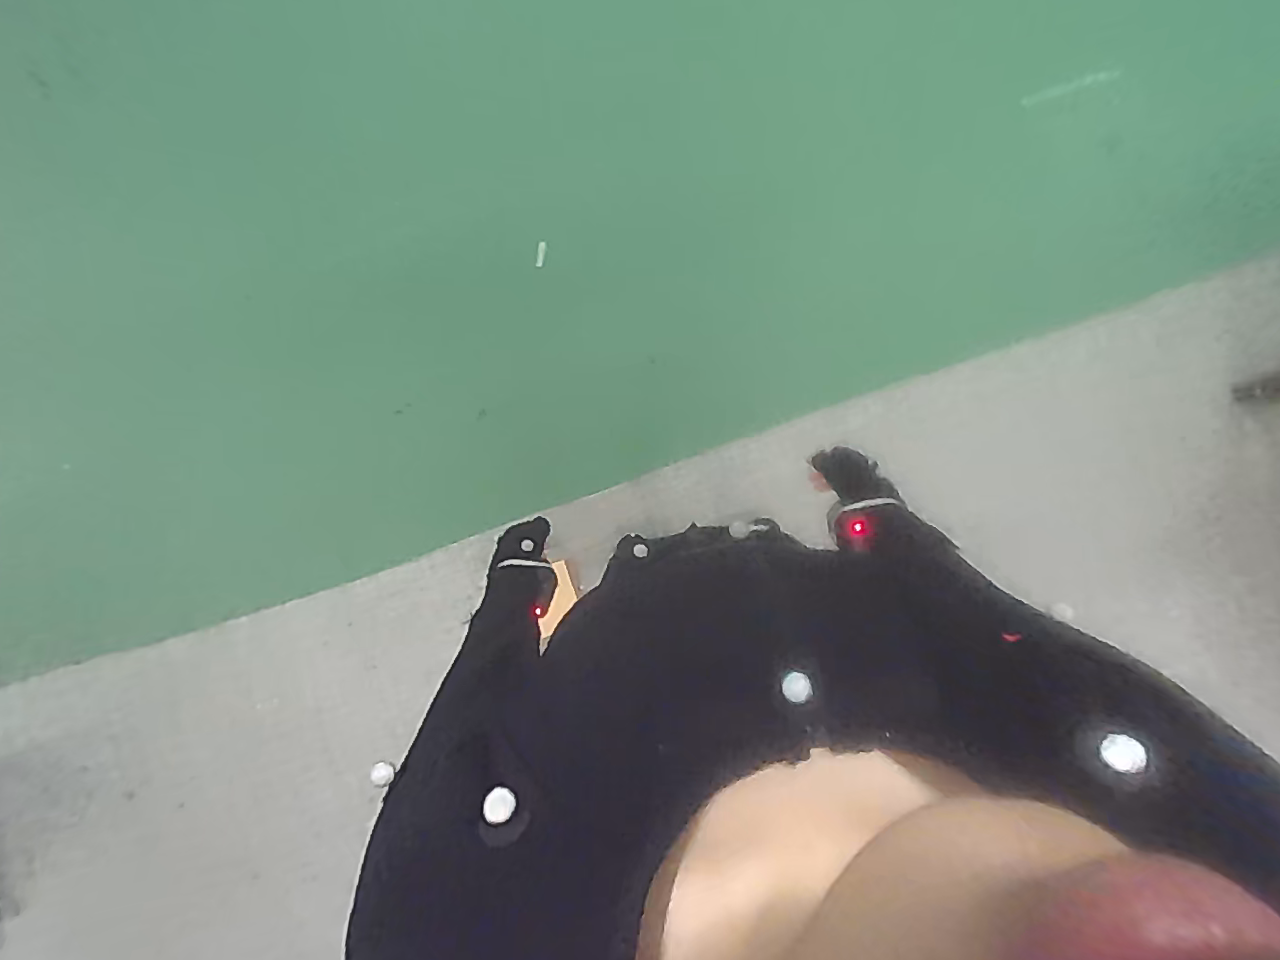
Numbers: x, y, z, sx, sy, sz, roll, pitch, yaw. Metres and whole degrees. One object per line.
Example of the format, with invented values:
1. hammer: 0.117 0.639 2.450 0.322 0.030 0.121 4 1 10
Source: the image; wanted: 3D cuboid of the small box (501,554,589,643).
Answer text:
1. small box: -0.235 0.296 1.391 0.179 0.176 0.168 -19 86 -2
